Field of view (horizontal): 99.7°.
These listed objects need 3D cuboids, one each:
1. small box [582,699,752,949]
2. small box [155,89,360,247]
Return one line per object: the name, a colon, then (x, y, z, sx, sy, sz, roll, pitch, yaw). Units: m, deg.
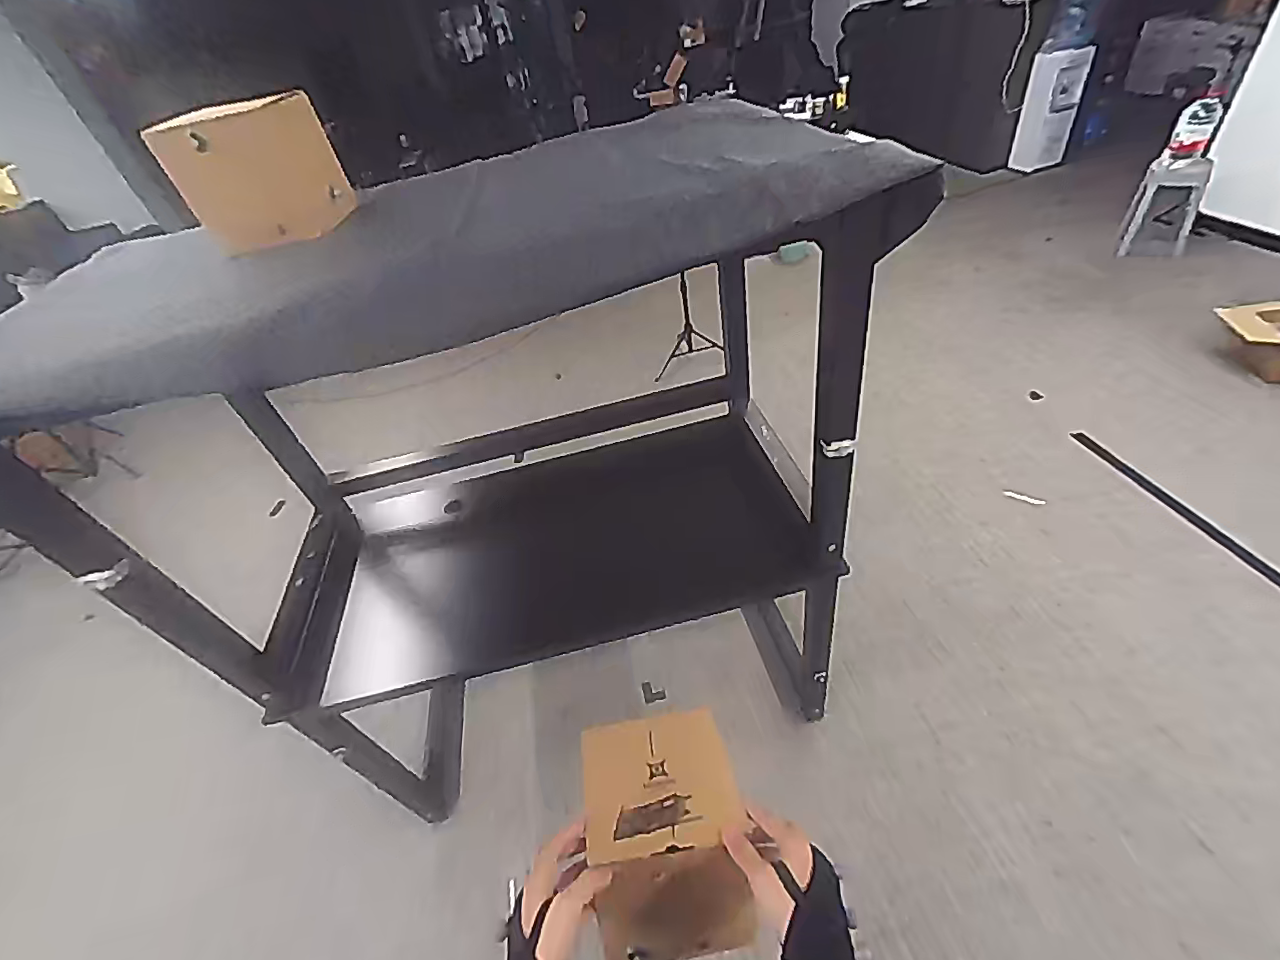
small box: (0.026, 0.392, 0.624, 0.168, 0.176, 0.179, -8, 20, -5)
small box: (-0.564, -0.479, 0.832, 0.168, 0.176, 0.179, -11, 41, 2)
